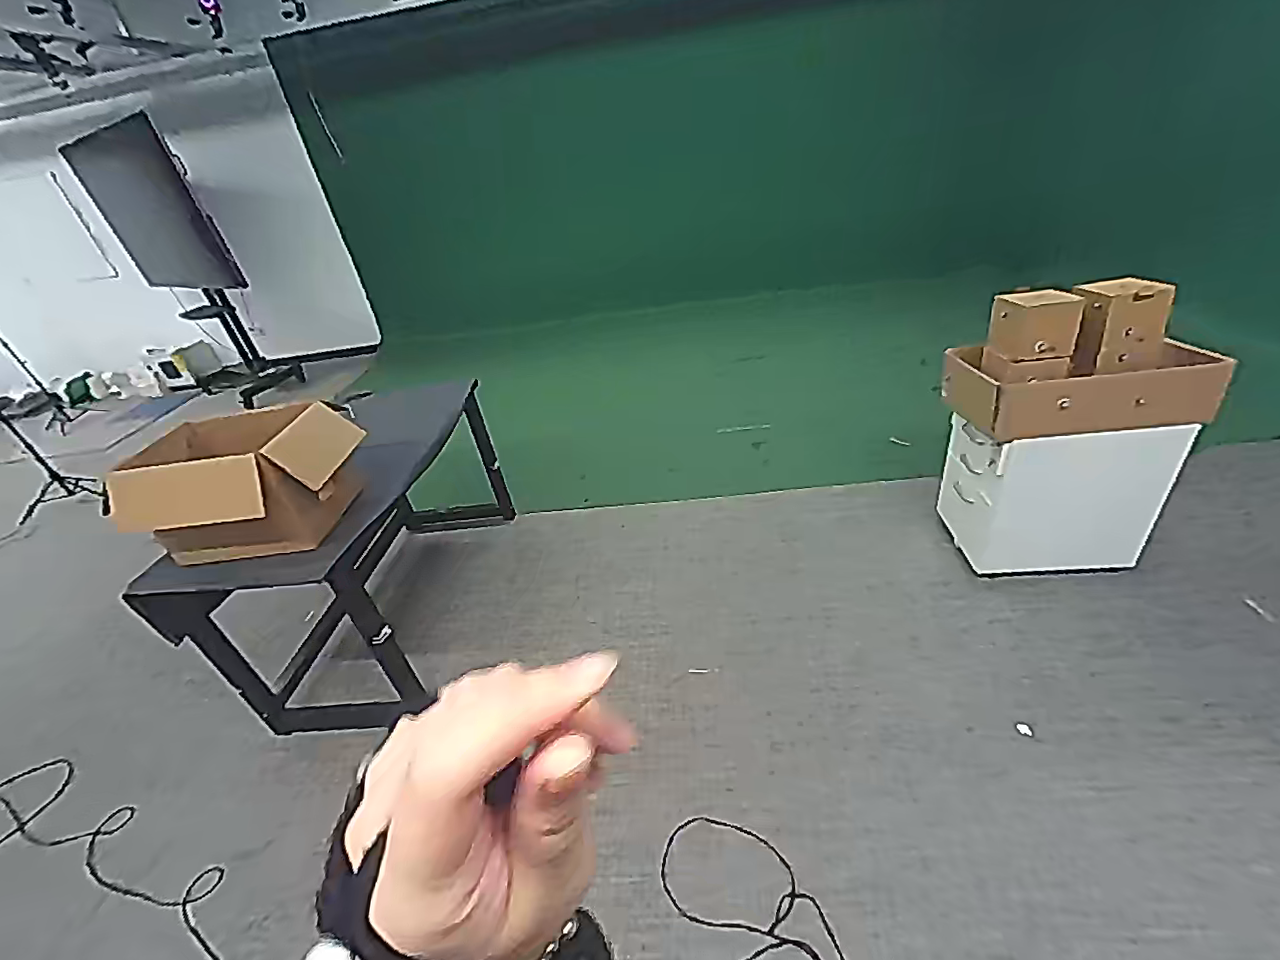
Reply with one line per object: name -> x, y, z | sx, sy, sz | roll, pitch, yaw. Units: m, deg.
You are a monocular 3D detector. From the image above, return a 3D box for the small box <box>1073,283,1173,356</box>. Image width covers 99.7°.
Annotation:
small box -> 1.433, -0.485, 1.635 | 0.168, 0.176, 0.179 | -7, 28, 7

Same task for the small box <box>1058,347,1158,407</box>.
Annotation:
small box -> 1.463, -0.341, 1.705 | 0.168, 0.176, 0.179 | -8, 26, 9

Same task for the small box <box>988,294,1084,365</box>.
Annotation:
small box -> 1.201, -0.461, 1.657 | 0.168, 0.176, 0.179 | -6, 28, 7
